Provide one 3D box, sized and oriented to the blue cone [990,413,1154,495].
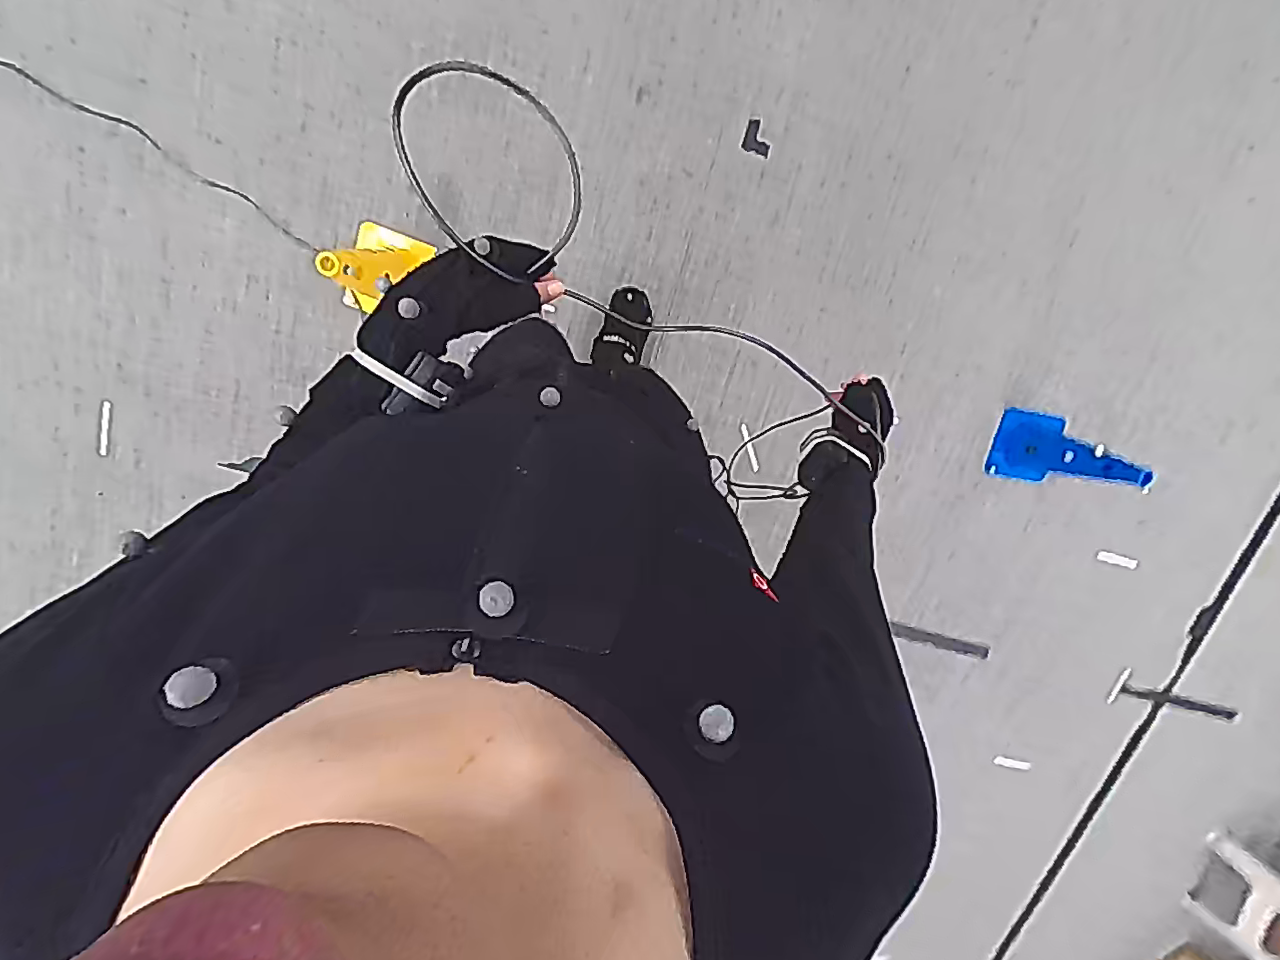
[{"bbox_3d":[1.128,-0.045,1.393,0.193,0.380,0.192,10,105,-8],"label":"blue cone"}]
